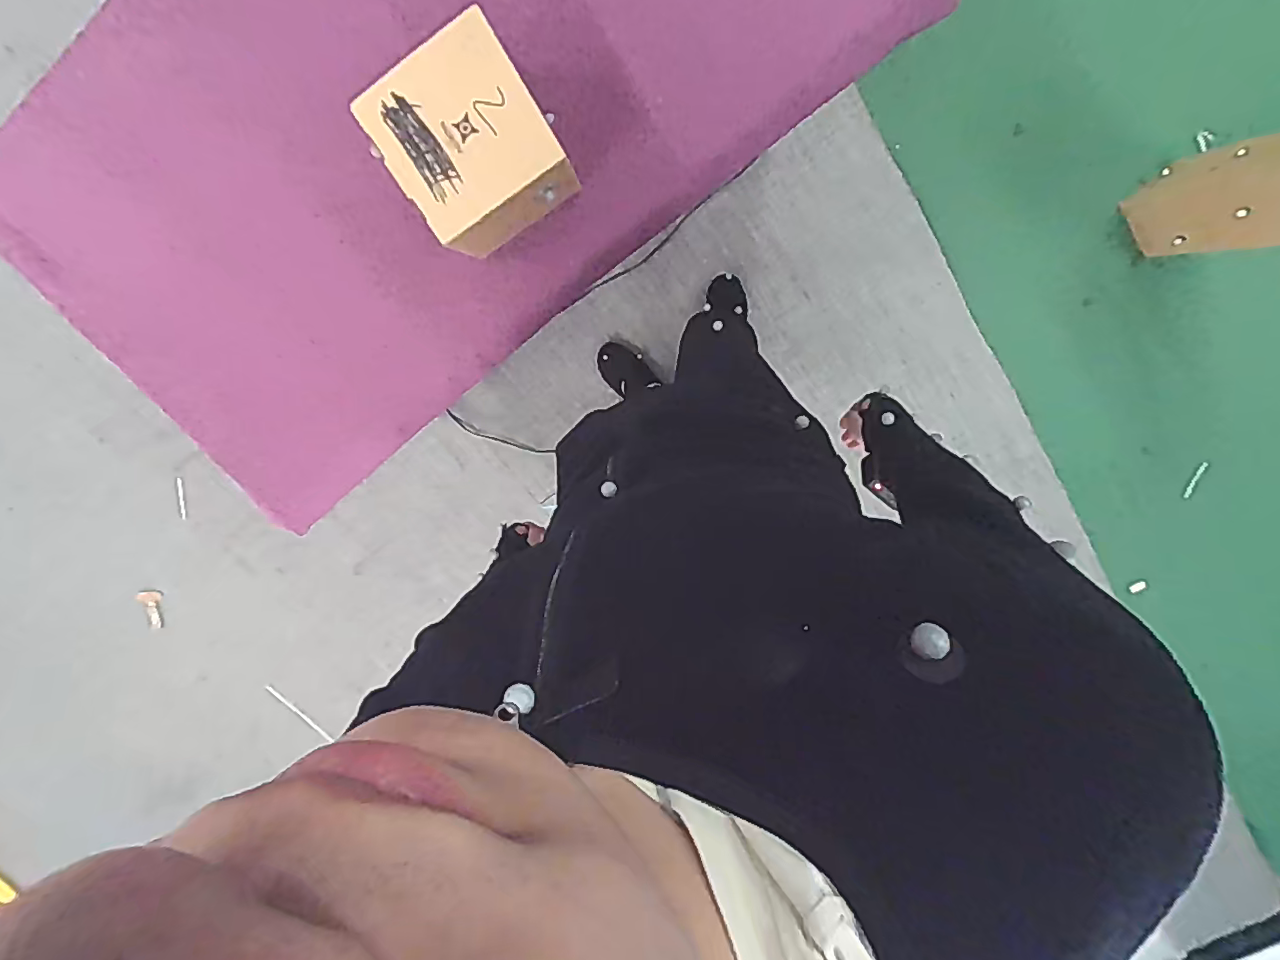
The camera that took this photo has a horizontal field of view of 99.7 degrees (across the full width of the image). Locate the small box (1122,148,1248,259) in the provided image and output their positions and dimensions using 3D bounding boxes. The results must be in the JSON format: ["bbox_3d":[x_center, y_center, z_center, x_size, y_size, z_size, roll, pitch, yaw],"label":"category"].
[{"bbox_3d":[1.366,-0.671,1.338,0.168,0.176,0.179,-38,104,11],"label":"small box"}]
